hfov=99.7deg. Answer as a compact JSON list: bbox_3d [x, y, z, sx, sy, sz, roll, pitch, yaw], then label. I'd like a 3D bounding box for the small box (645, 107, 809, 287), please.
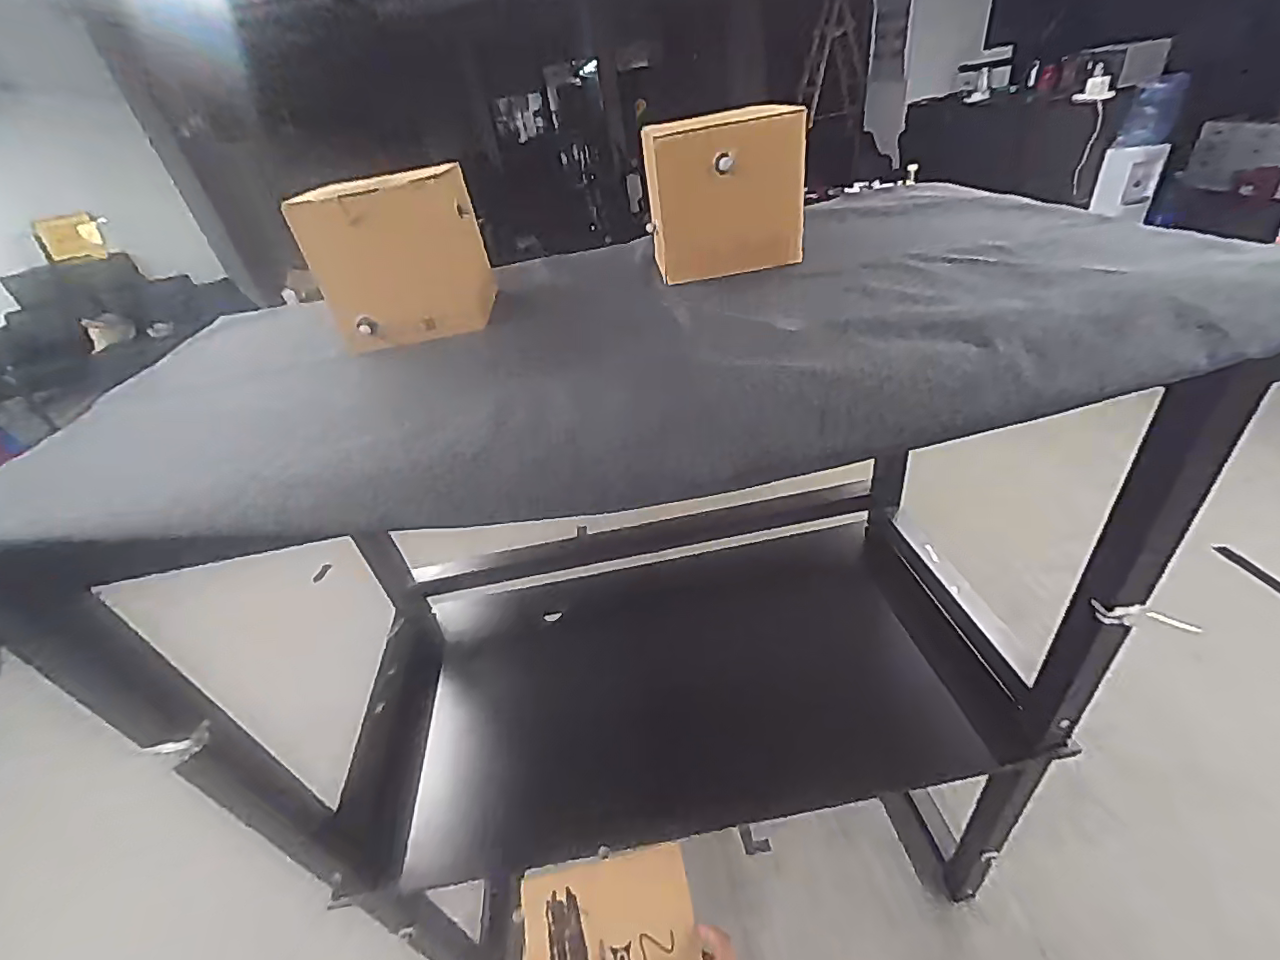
[{"bbox_3d":[0.108,-0.369,0.705,0.179,0.176,0.168,-10,35,2],"label":"small box"}]

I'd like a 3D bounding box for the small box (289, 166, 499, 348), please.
[{"bbox_3d":[-0.285,-0.276,0.678,0.168,0.176,0.179,-11,34,-1],"label":"small box"}]
